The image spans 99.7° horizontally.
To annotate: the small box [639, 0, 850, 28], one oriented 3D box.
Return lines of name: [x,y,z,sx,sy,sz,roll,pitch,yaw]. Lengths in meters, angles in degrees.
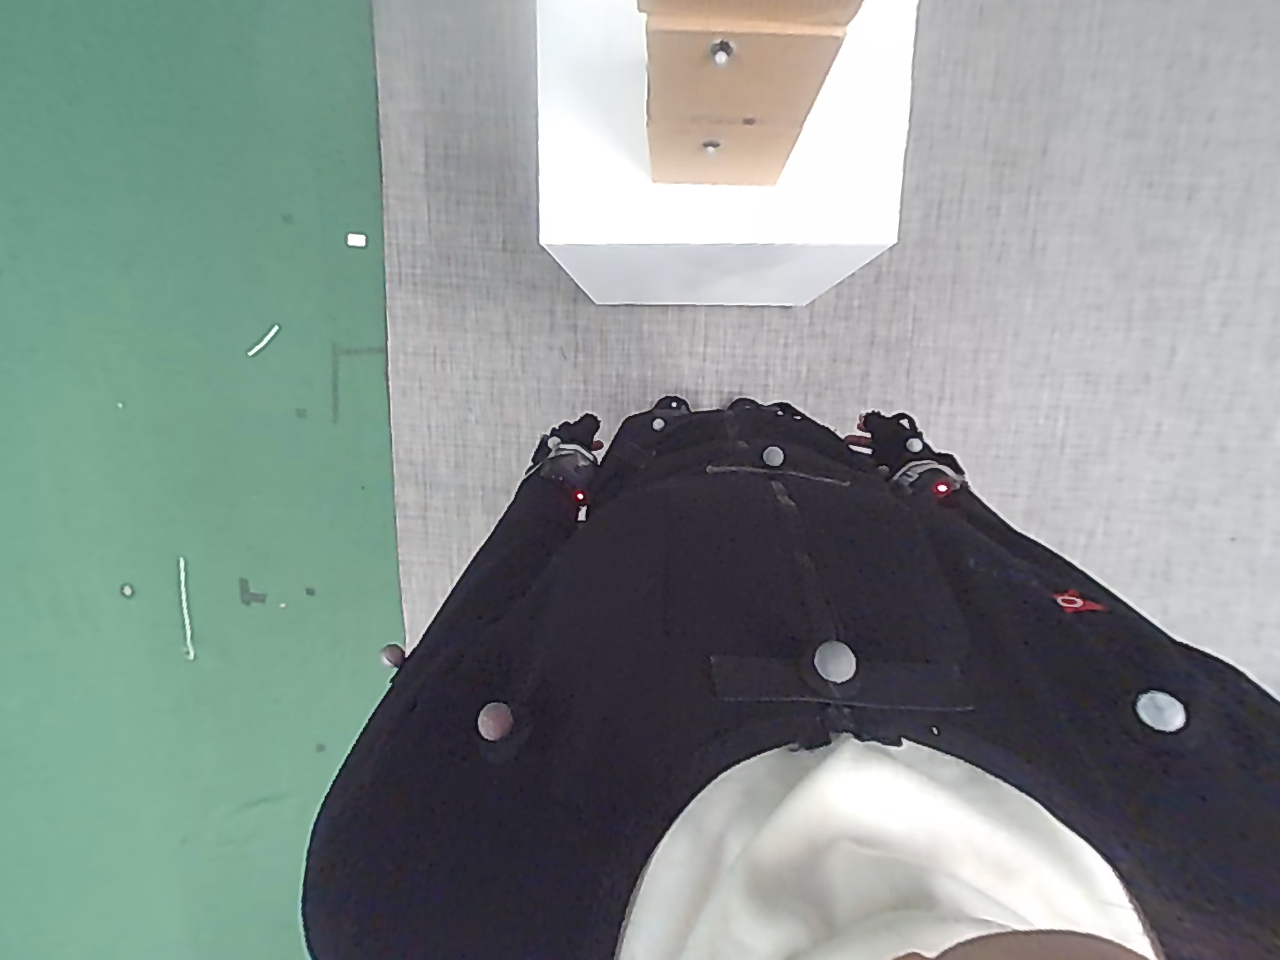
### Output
small box: [0.083,-0.440,0.353,0.179,0.176,0.168,5,101,2]

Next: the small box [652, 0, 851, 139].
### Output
small box: [0.096,-0.461,0.516,0.168,0.176,0.179,2,99,2]

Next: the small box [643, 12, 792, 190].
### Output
small box: [0.100,-0.481,0.676,0.179,0.176,0.168,3,99,3]
